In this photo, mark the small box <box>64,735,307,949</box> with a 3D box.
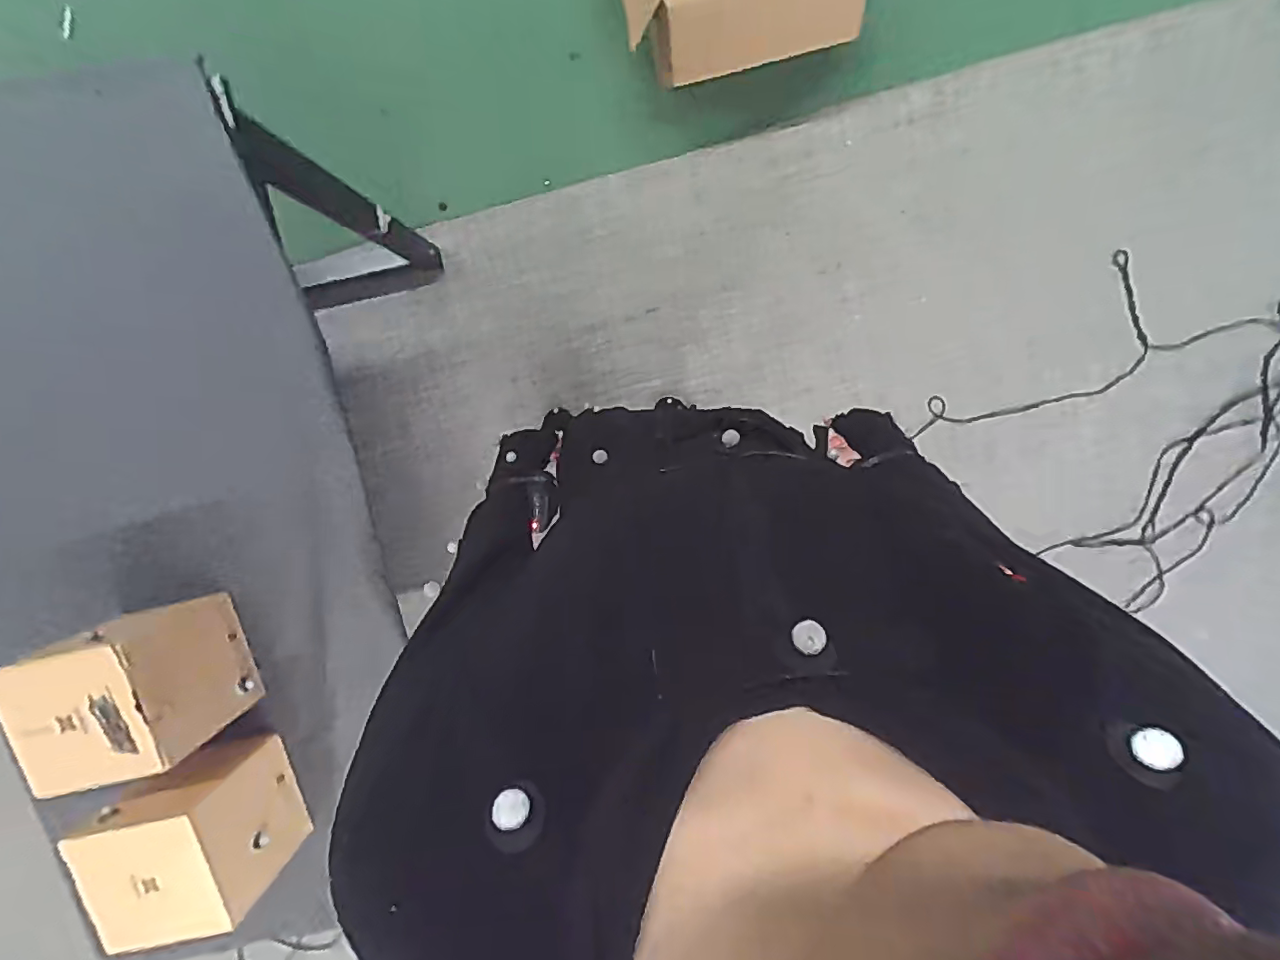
[{"bbox_3d":[-0.597,0.481,0.743,0.179,0.176,0.168,-14,98,4],"label":"small box"}]
